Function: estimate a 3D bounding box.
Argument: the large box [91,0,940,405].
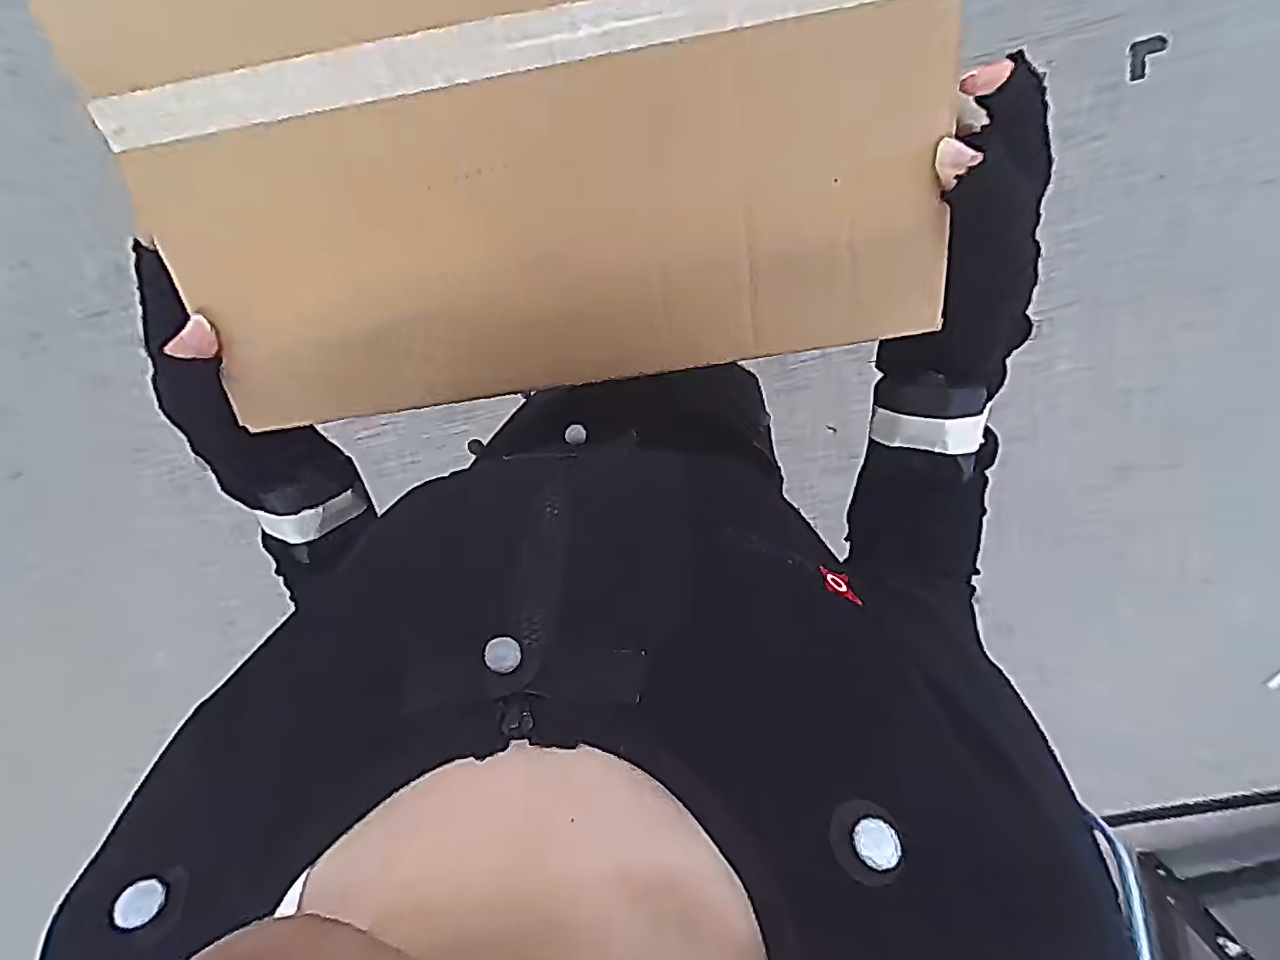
[{"bbox_3d":[-0.058,-0.270,0.396,0.408,0.320,0.320,-8,114,4],"label":"large box"}]
